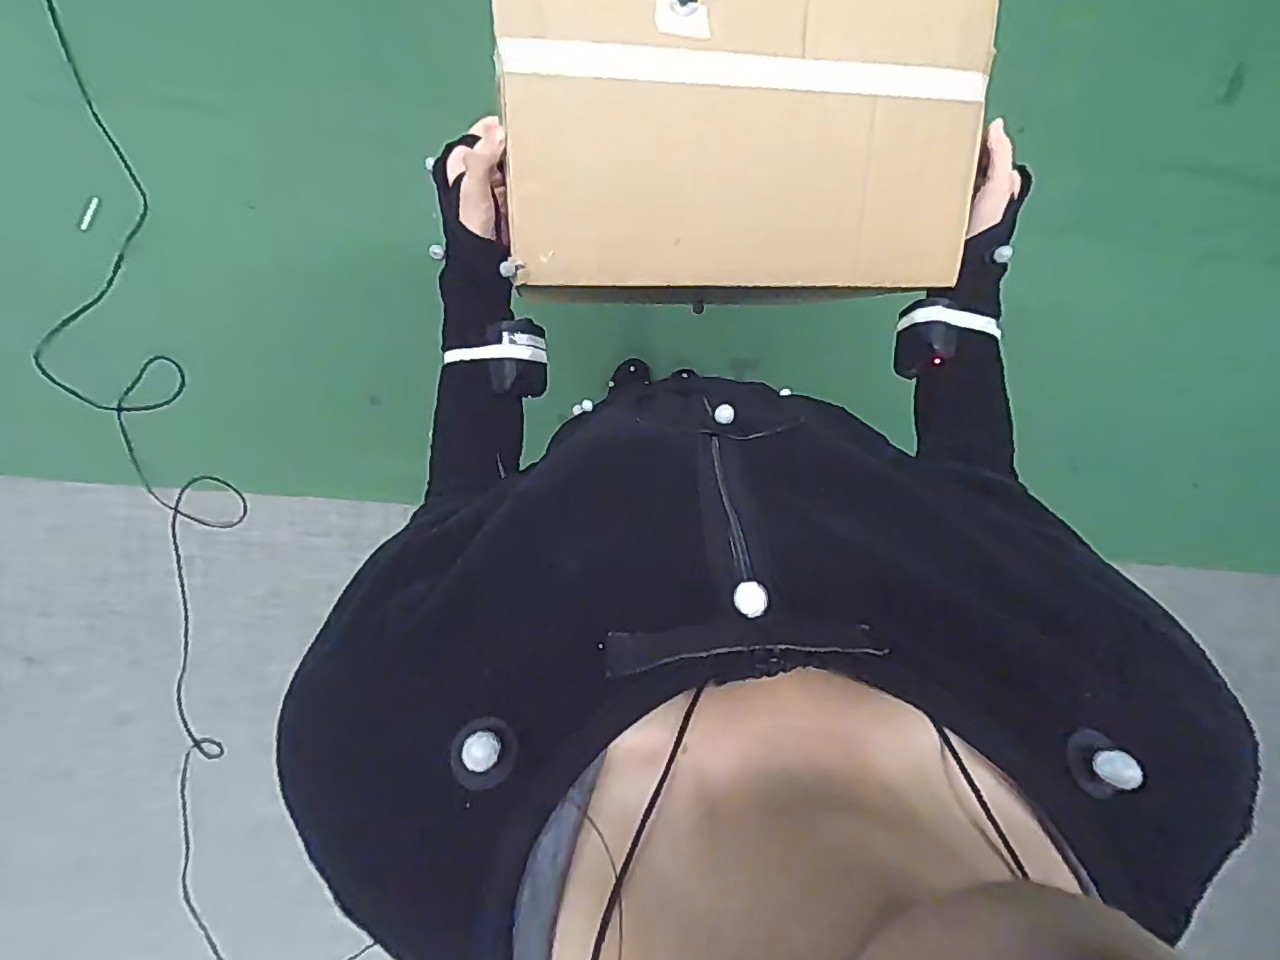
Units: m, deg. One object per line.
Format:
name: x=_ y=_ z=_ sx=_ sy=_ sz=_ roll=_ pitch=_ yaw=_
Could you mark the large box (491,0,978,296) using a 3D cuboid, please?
large box: x=0.064 y=-0.367 z=0.582 sx=0.408 sy=0.320 sz=0.320 roll=-3 pitch=106 yaw=-9
